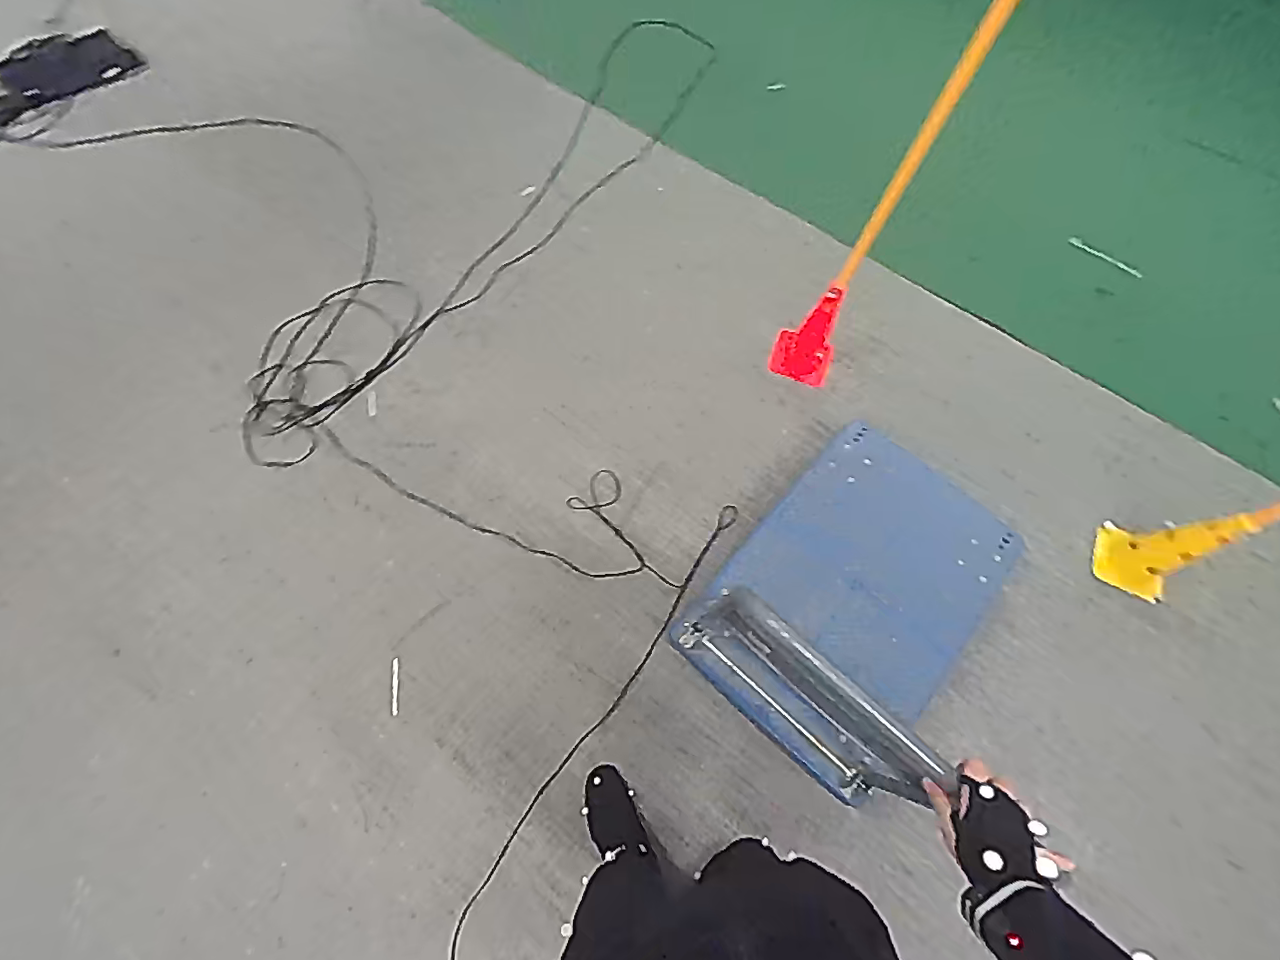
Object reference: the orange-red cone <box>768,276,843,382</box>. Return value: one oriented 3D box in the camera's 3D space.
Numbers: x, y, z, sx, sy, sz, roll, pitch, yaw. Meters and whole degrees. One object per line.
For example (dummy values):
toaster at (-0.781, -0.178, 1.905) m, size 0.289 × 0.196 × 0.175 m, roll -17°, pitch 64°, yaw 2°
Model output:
orange-red cone at (0.571, -0.513, 1.747) m, size 0.199 × 0.360 × 0.198 m, roll 22°, pitch 66°, yaw 8°
